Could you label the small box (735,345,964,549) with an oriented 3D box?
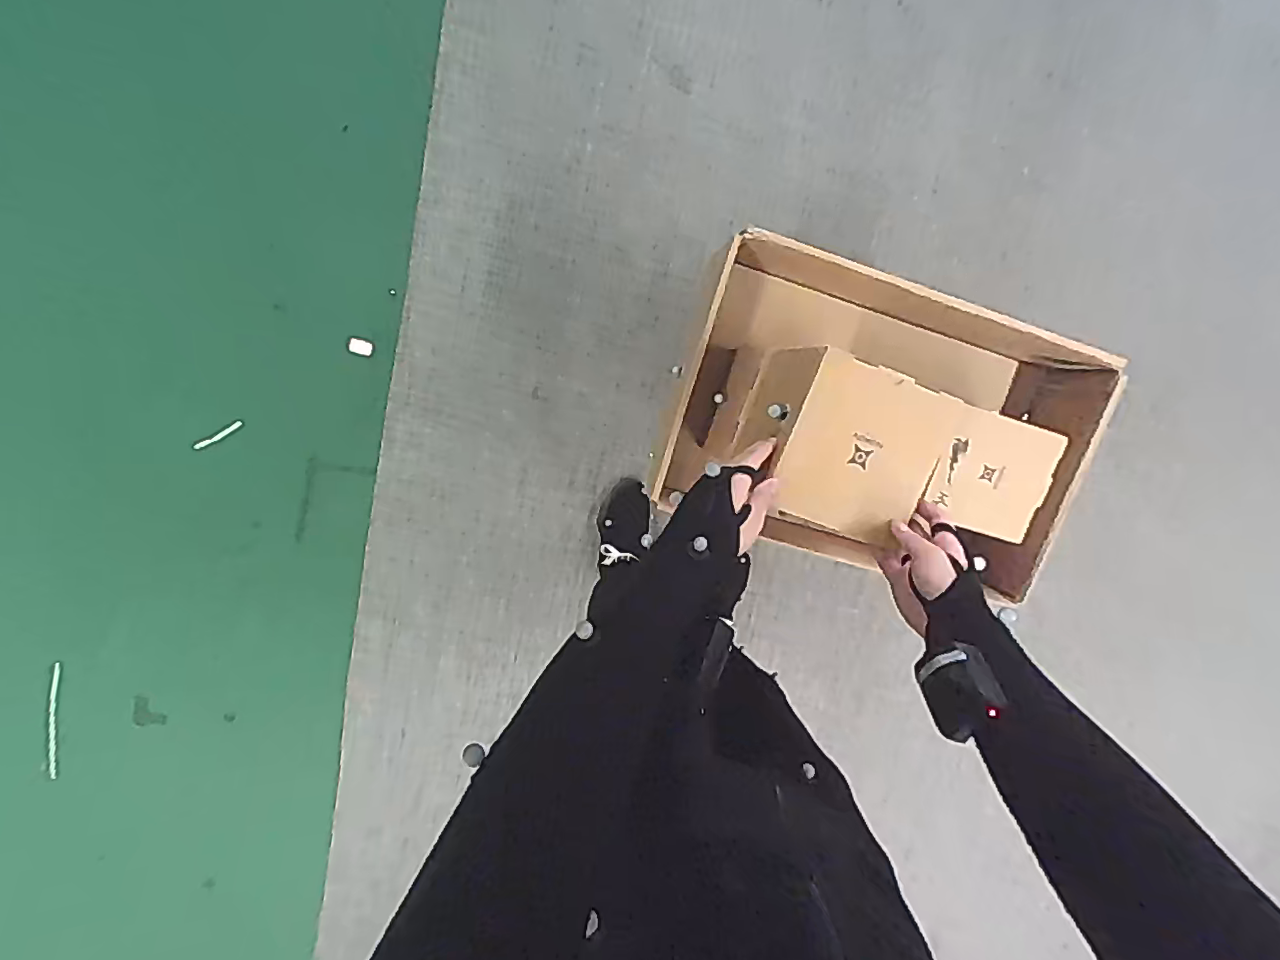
[{"bbox_3d":[0.227,-0.045,0.642,0.168,0.176,0.179,19,99,-8],"label":"small box"}]
